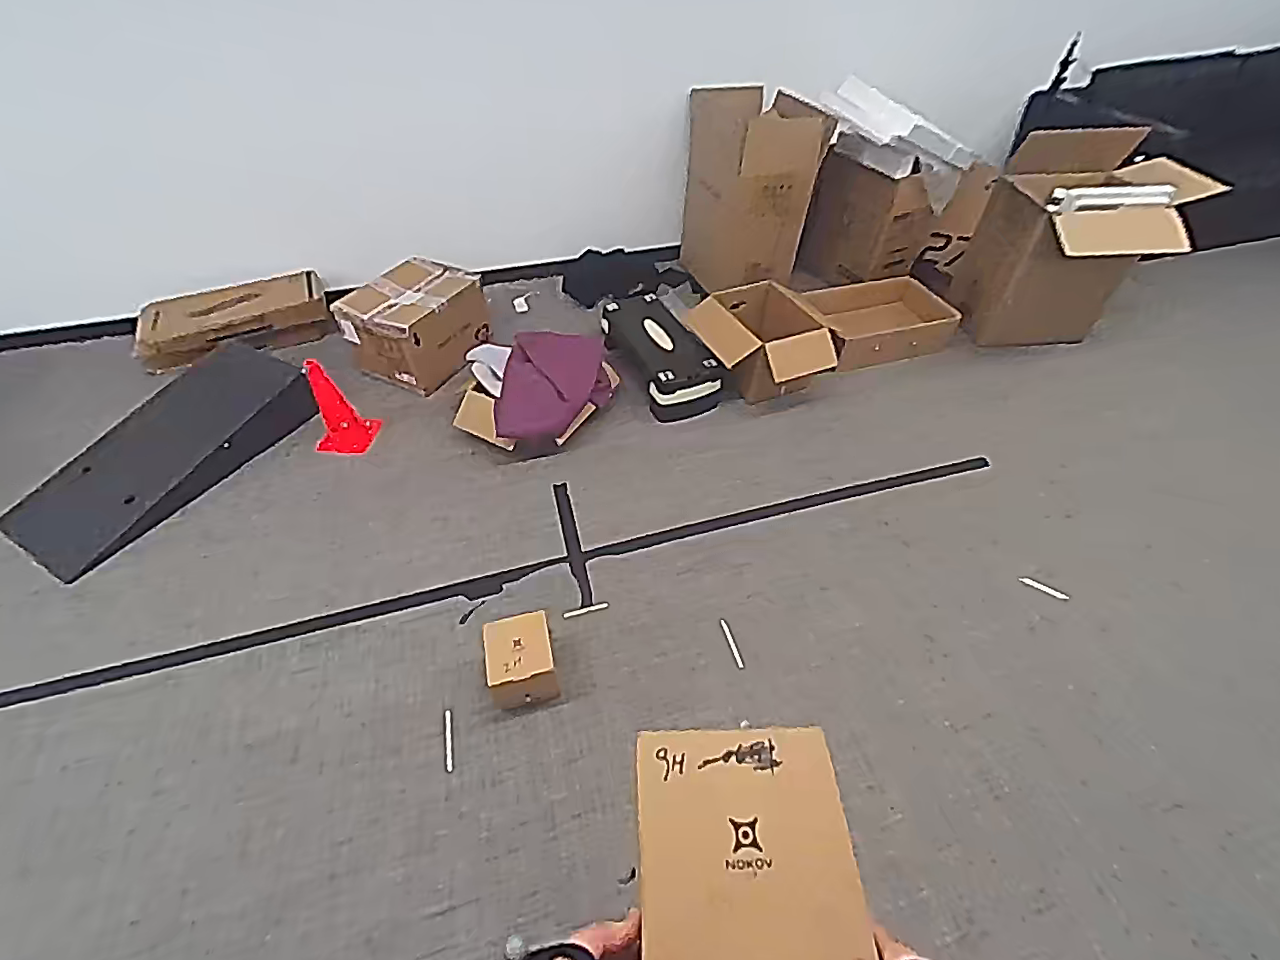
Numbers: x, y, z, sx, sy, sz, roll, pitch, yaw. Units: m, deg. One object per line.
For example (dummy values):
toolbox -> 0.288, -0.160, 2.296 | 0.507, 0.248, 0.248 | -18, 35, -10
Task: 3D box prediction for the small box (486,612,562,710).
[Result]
small box -> -0.310, 0.484, 1.446 | 0.168, 0.176, 0.179 | -12, 49, -9
